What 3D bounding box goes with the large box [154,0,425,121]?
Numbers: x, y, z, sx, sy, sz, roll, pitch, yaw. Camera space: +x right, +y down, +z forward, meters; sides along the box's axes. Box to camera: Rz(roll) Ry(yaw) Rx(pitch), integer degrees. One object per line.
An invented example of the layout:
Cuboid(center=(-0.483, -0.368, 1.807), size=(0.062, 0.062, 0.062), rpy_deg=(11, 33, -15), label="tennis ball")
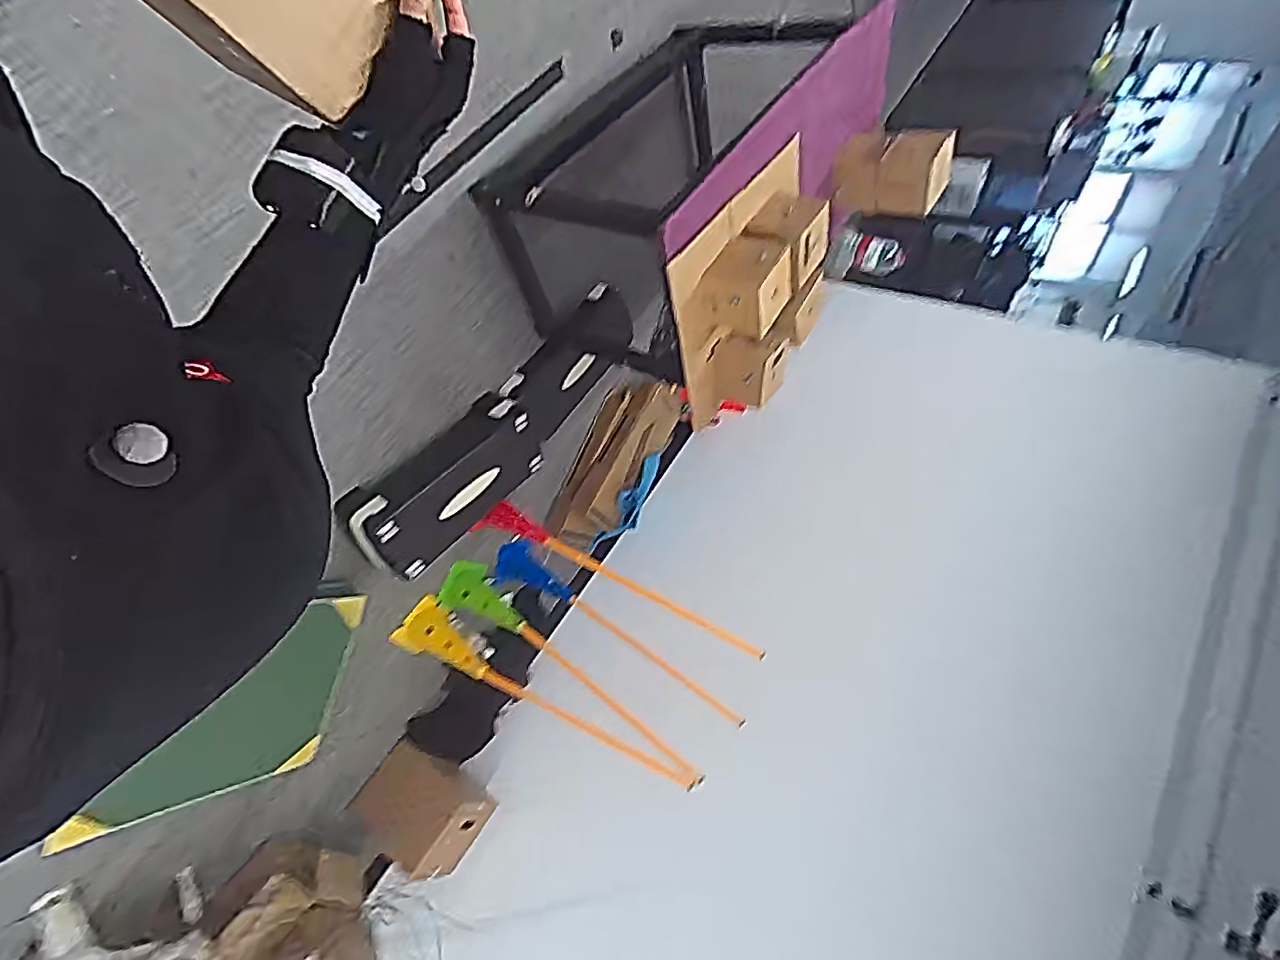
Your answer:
Cuboid(center=(-0.348, -0.545, 0.343), size=(0.320, 0.320, 0.408), rpy_deg=(-53, 150, 5), label="large box")
